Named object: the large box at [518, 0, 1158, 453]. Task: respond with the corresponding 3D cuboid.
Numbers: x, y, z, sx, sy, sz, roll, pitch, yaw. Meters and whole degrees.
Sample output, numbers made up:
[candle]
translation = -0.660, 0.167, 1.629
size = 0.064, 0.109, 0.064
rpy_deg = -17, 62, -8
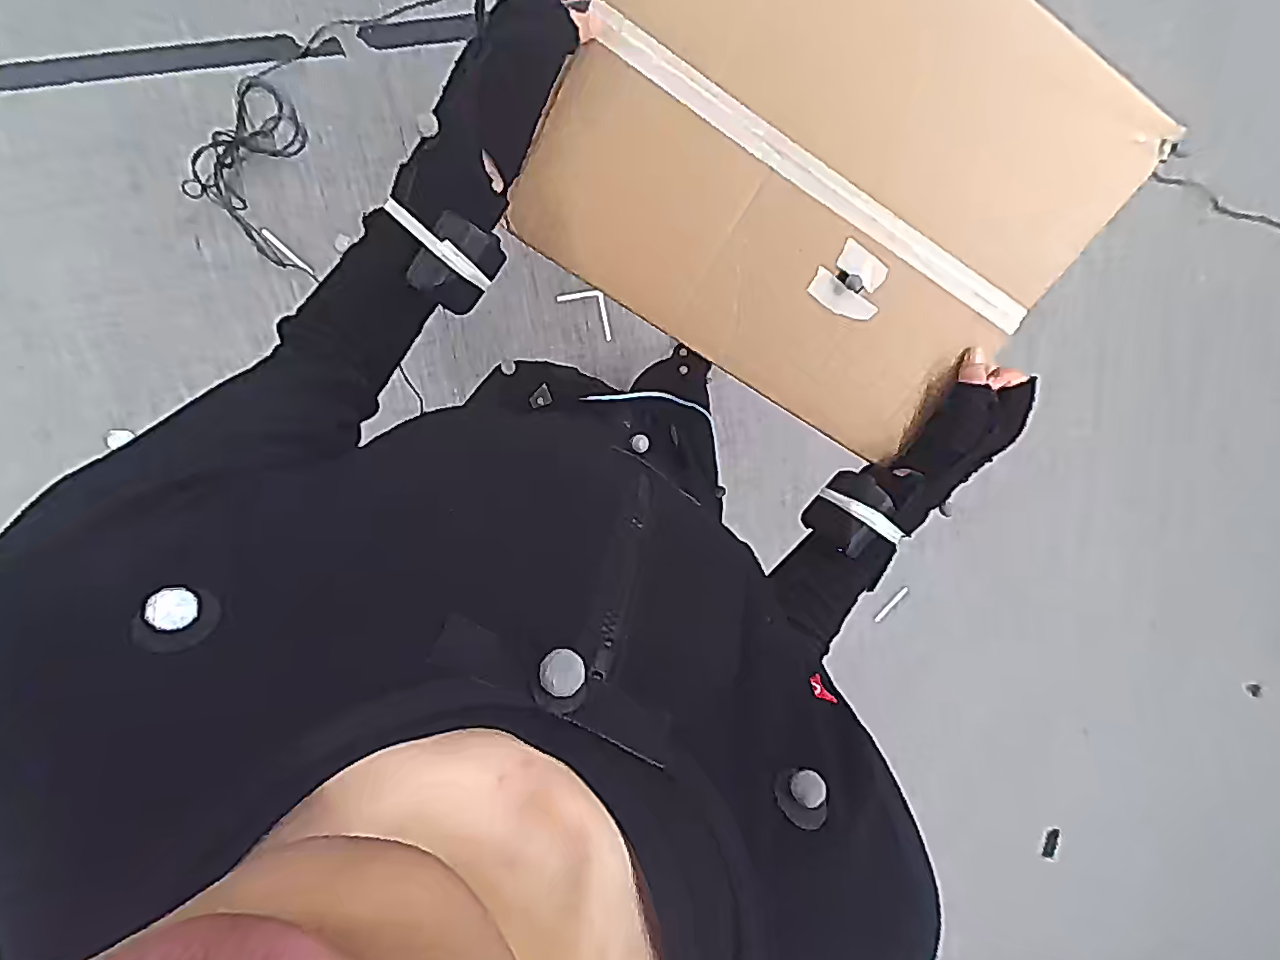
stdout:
[large box]
translation = 0.148, -0.295, 0.561
size = 0.408, 0.320, 0.320
rpy_deg = 30, 113, -10
